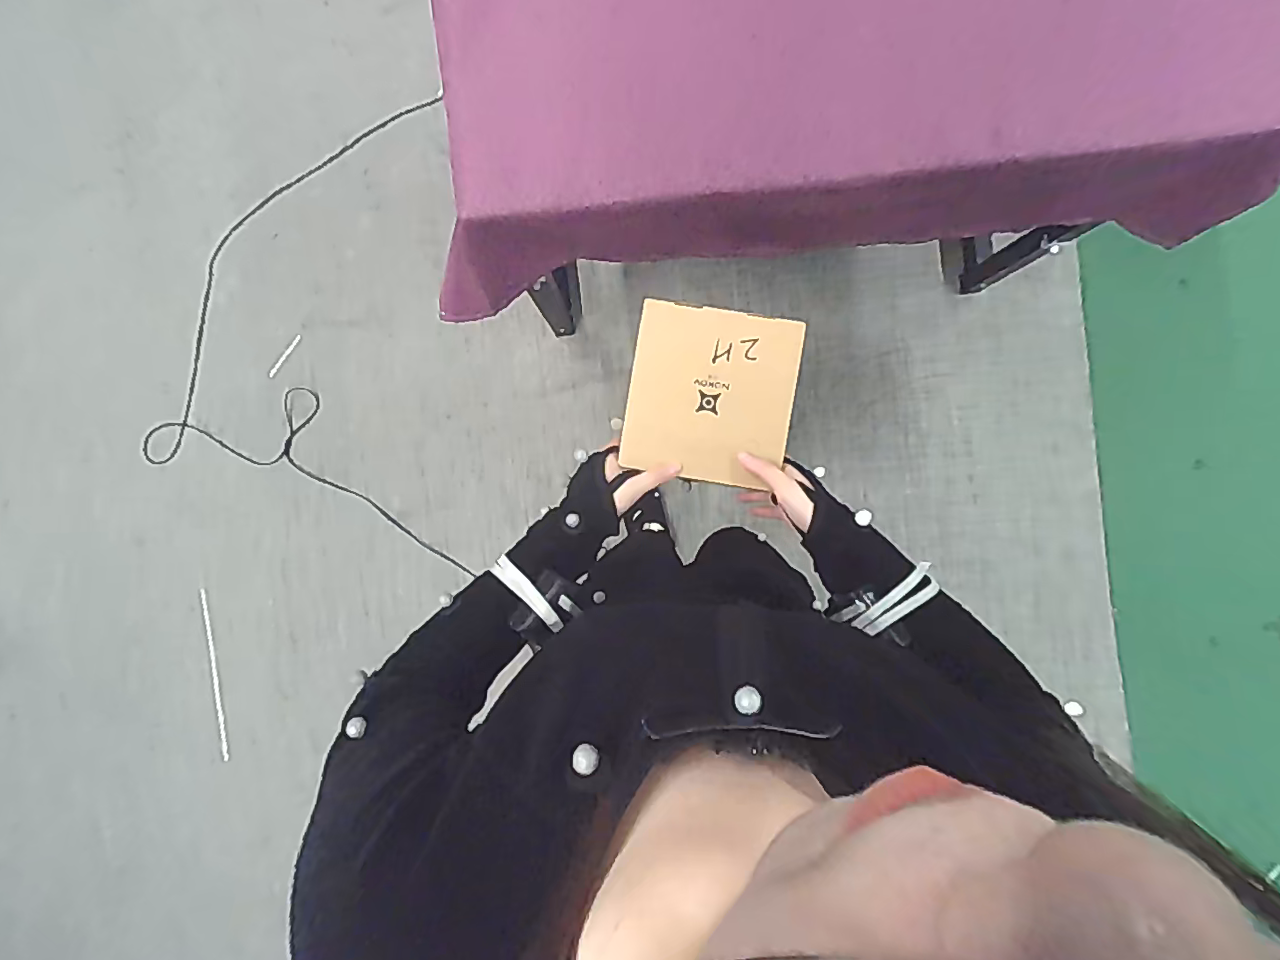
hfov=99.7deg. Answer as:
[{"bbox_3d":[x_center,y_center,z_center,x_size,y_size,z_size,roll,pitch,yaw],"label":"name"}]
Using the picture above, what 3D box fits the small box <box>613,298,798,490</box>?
[{"bbox_3d":[0.071,-0.090,0.636,0.168,0.176,0.179,10,91,3],"label":"small box"}]
